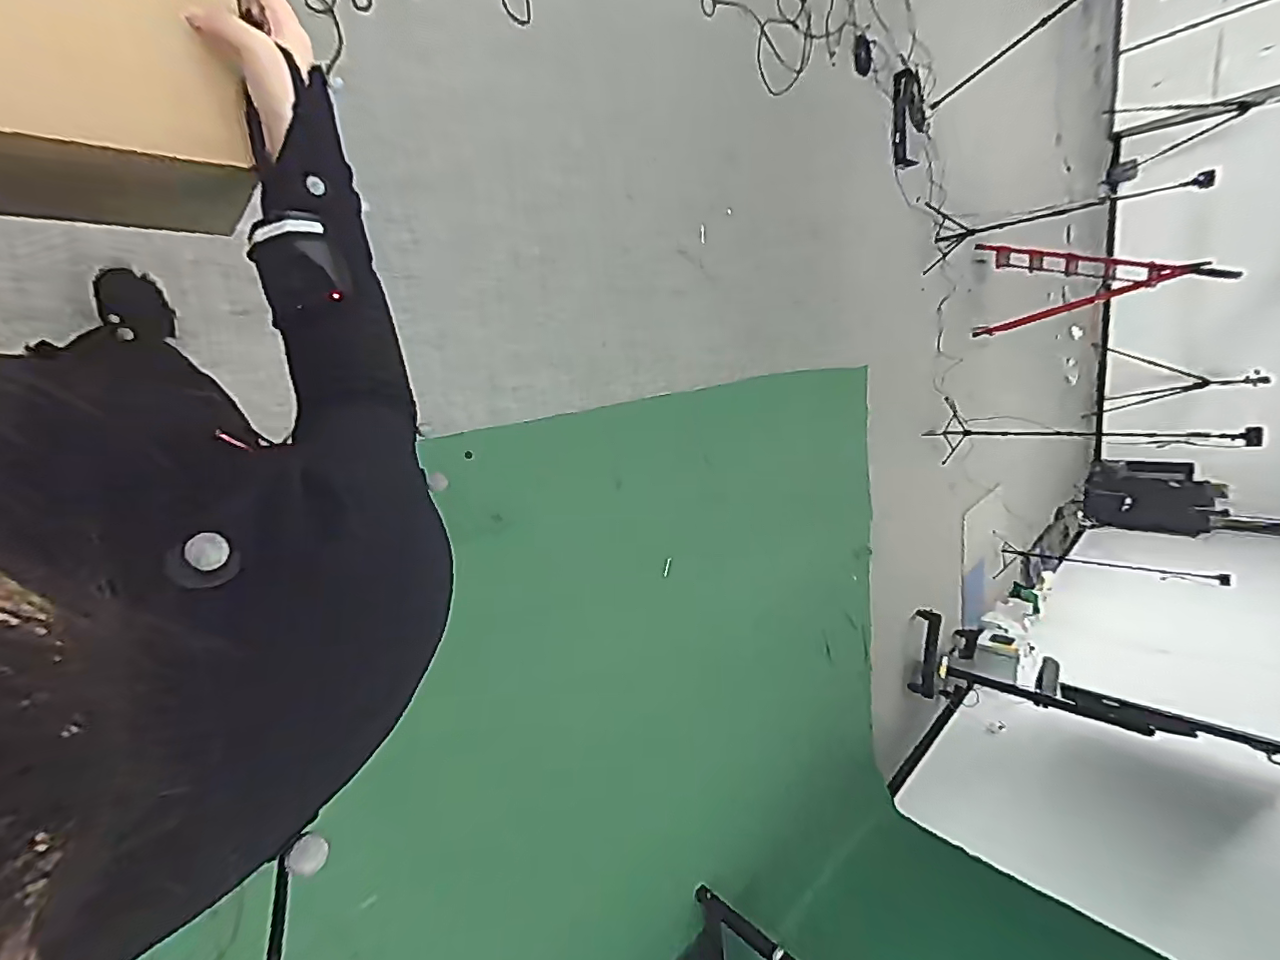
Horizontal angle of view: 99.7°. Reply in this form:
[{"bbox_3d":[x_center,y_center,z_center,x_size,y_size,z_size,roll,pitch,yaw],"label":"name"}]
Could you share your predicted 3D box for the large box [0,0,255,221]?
[{"bbox_3d":[-0.556,-0.390,0.385,0.408,0.320,0.320,-13,108,-37],"label":"large box"}]
